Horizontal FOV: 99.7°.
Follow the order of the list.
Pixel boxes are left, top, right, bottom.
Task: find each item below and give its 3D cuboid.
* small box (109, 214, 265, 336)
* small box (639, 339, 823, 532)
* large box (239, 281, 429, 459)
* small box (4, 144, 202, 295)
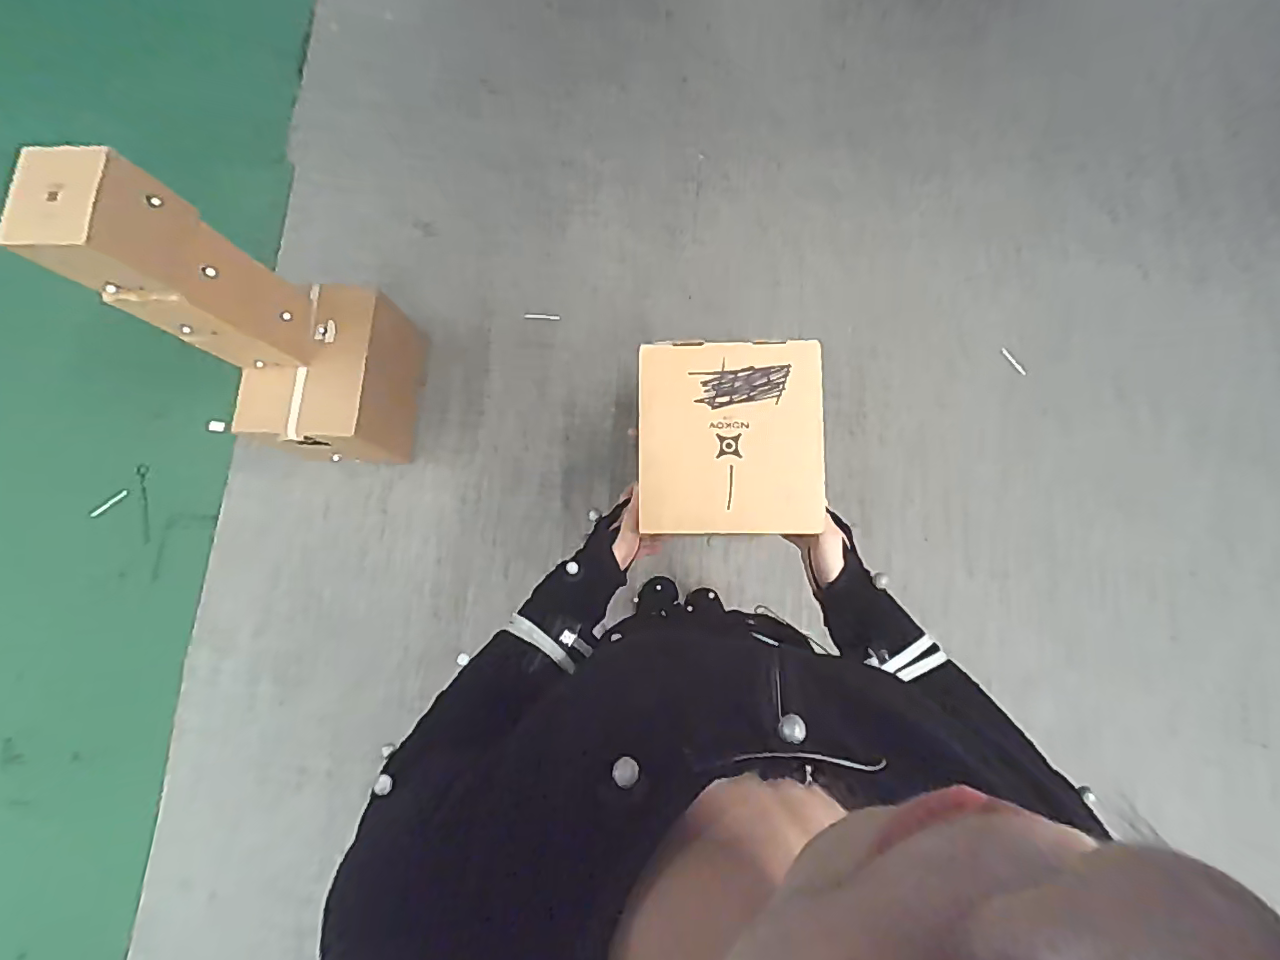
[{"bbox_3d":[-0.914,-0.415,1.108,0.168,0.176,0.179,2,81,6],"label":"small box"},{"bbox_3d":[0.085,-0.034,0.566,0.168,0.176,0.179,-1,85,4],"label":"small box"},{"bbox_3d":[-0.814,-0.284,1.494,0.320,0.320,0.408,3,79,3],"label":"large box"},{"bbox_3d":[-0.923,-0.450,0.948,0.168,0.176,0.179,4,82,7],"label":"small box"}]
